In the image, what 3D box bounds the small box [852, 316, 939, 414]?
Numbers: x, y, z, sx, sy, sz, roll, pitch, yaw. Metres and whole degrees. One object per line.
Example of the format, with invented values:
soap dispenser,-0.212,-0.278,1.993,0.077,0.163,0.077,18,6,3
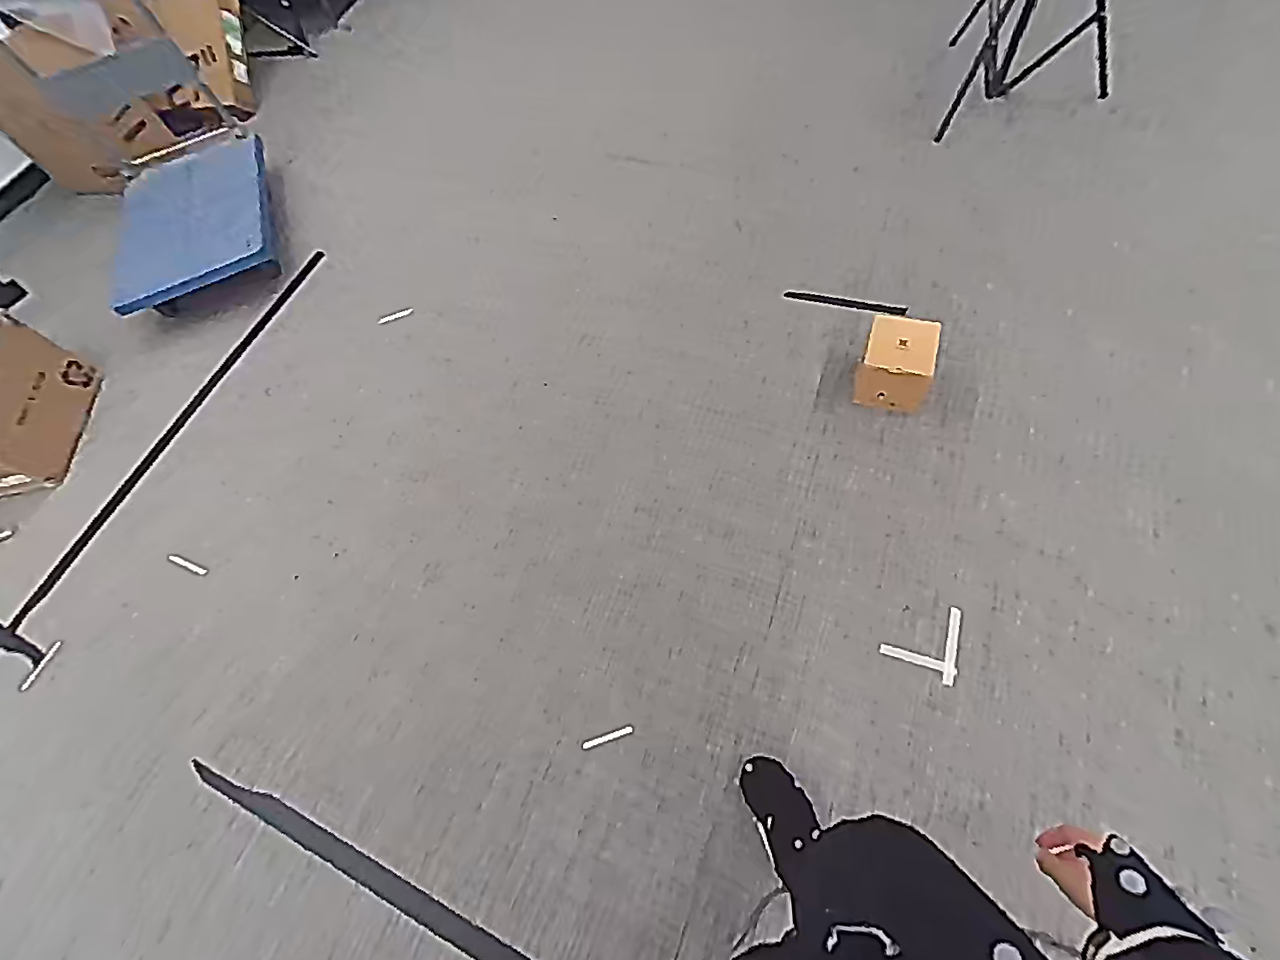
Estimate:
small box,0.680,-0.307,1.452,0.168,0.176,0.179,14,68,15
